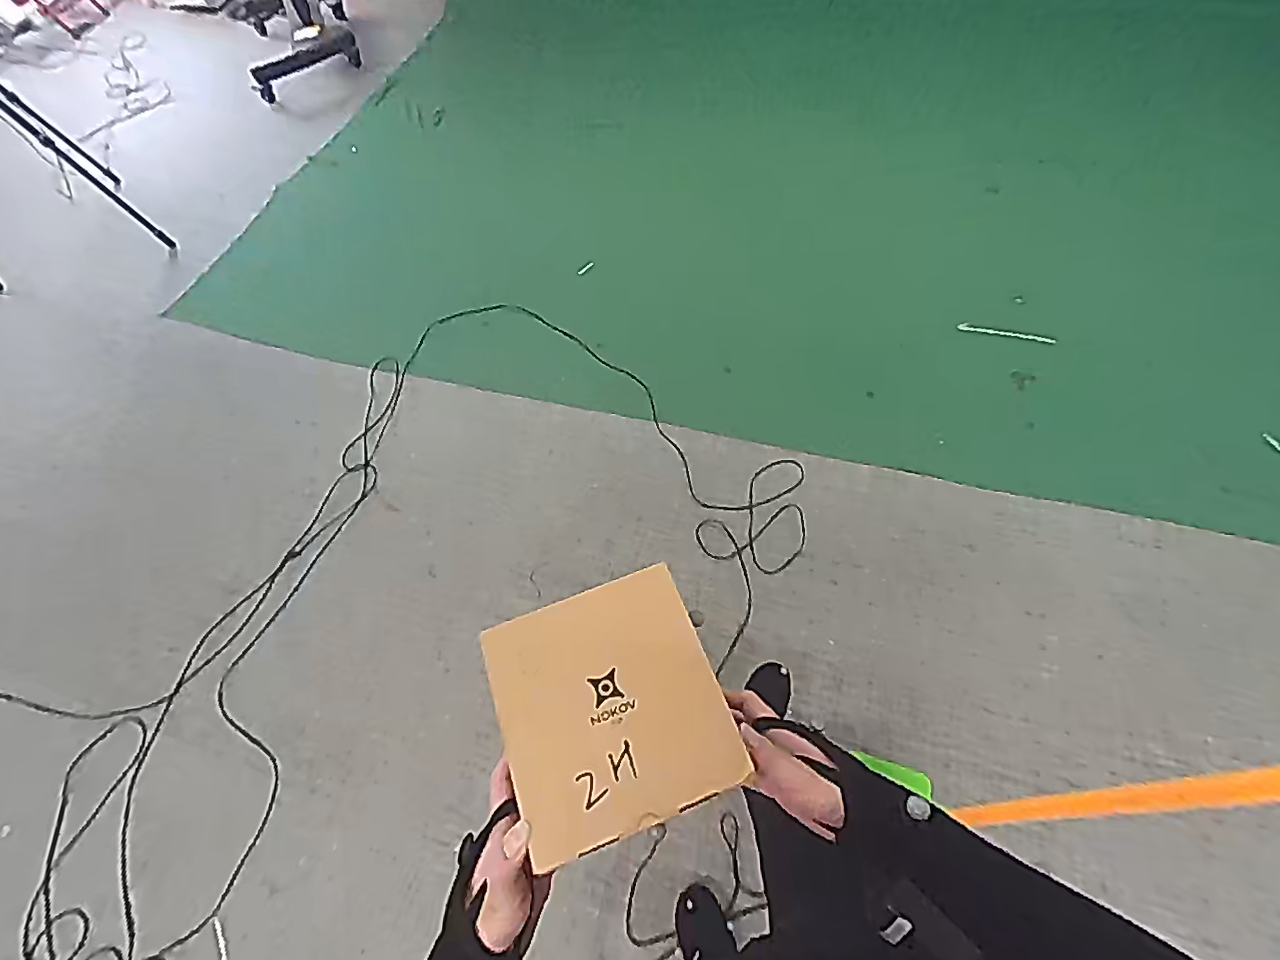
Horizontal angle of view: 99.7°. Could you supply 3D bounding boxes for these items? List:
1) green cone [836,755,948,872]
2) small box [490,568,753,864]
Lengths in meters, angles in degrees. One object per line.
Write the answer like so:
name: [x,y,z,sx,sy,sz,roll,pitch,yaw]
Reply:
green cone: [0.564,0.707,1.139,0.202,0.368,0.200,14,64,14]
small box: [-0.019,0.209,0.488,0.168,0.176,0.179,-19,62,-7]
